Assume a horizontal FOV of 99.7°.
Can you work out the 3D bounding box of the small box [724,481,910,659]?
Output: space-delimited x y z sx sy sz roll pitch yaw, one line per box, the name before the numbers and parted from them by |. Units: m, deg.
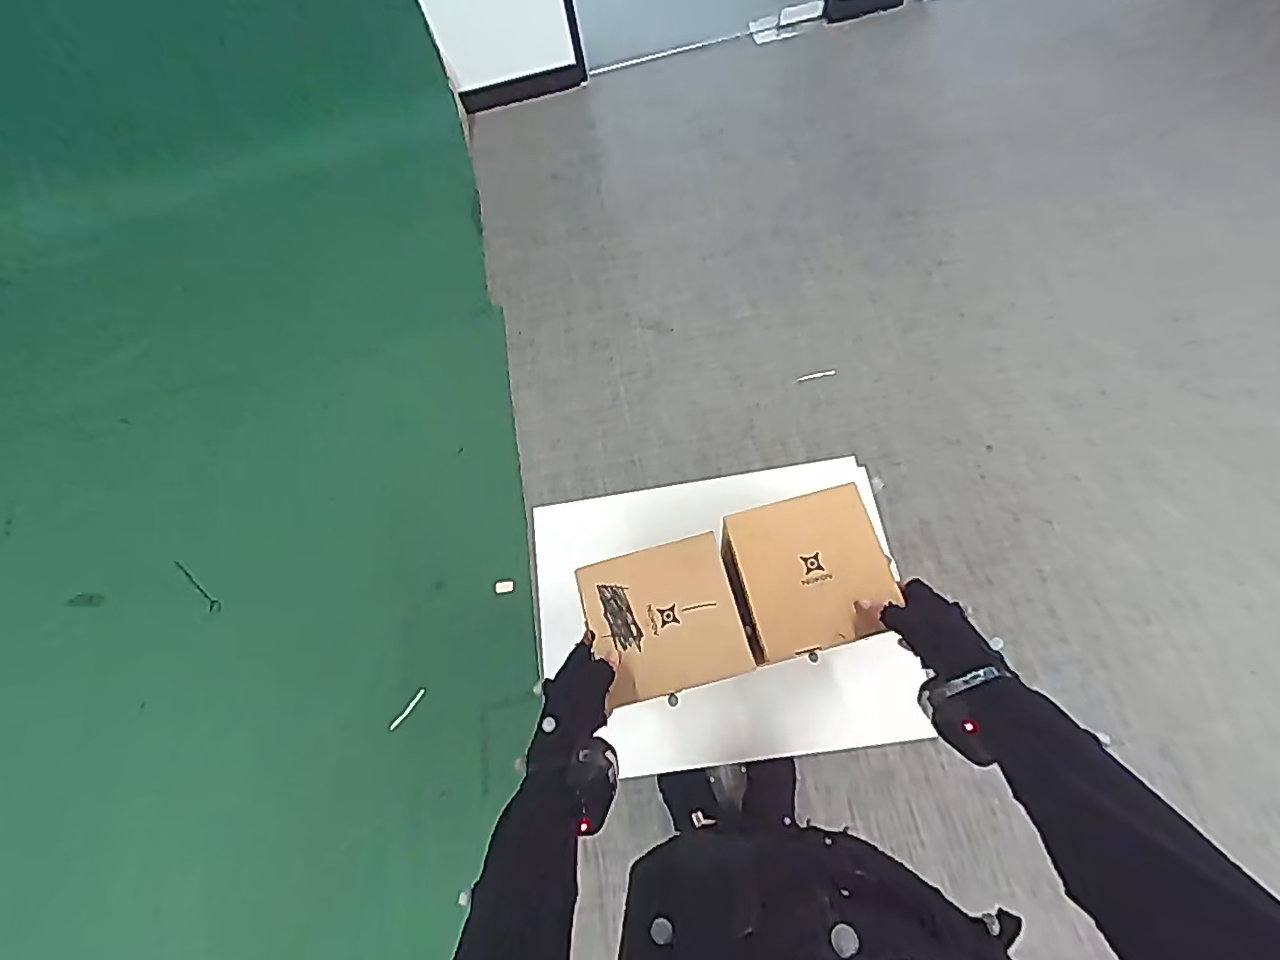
small box | 0.208 0.124 0.697 0.168 0.176 0.179 -15 70 2
